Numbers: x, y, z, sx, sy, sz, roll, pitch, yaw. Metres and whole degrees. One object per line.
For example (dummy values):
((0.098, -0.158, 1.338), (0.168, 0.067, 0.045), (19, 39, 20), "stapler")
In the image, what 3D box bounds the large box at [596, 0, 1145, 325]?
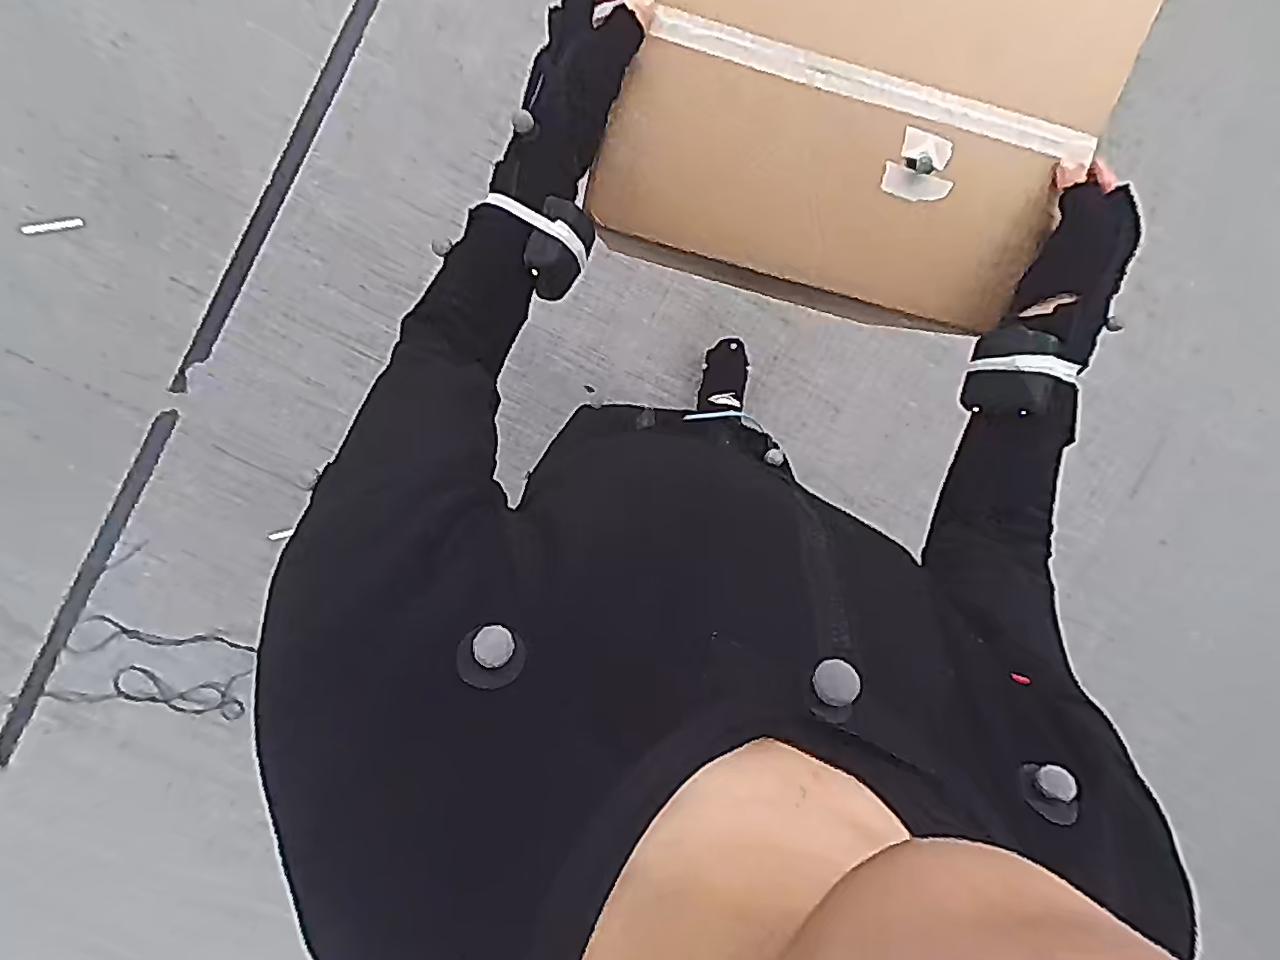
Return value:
((0.184, -0.380, 0.593), (0.408, 0.320, 0.320), (14, 110, -5), "large box")
